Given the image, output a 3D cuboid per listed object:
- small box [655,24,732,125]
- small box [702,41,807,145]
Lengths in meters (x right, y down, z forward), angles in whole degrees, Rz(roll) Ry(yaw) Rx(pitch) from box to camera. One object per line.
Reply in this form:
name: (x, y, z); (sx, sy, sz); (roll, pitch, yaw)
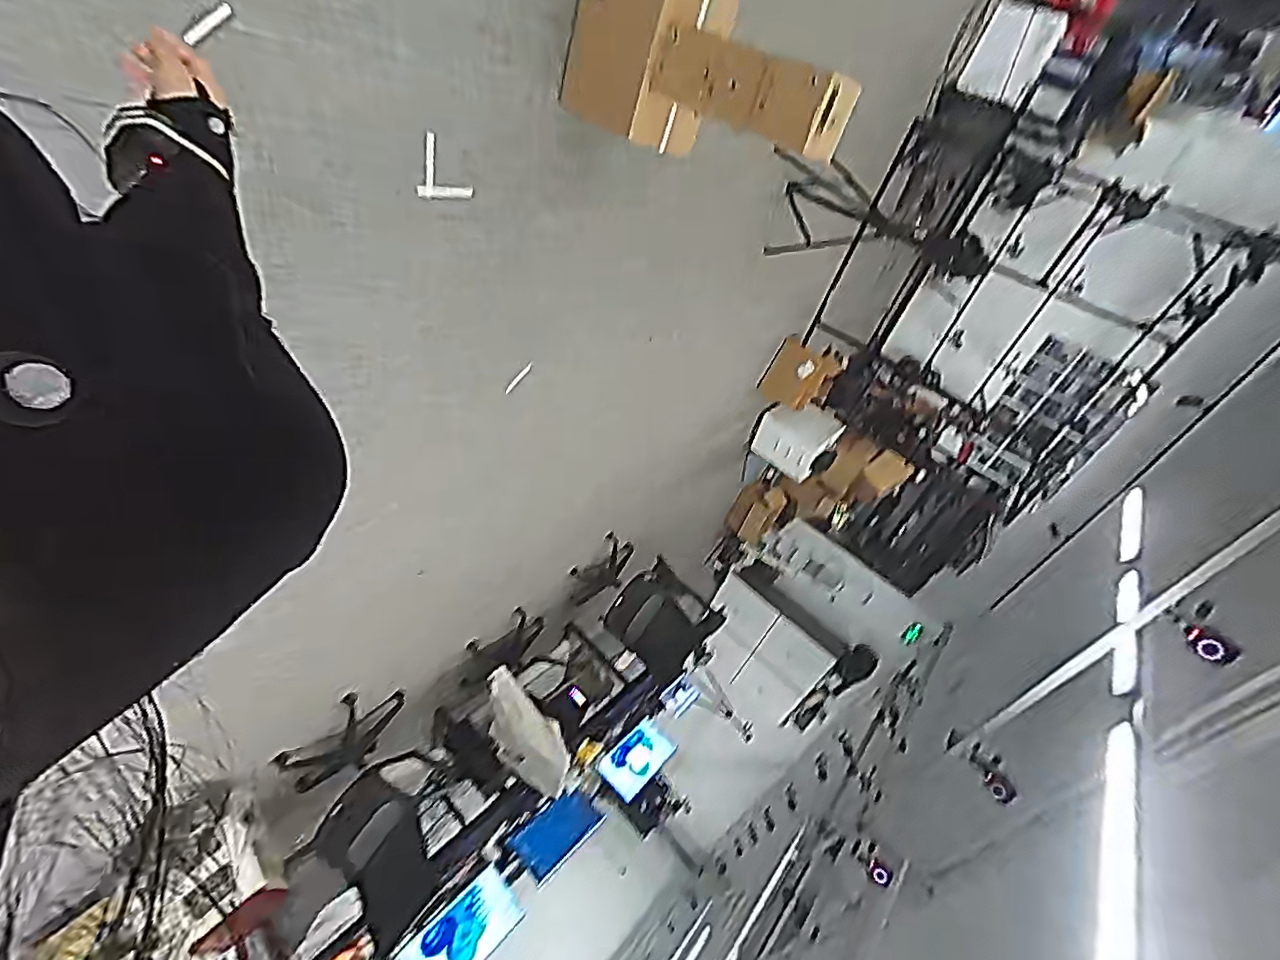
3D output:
small box: (0.167, -1.086, 1.450); (0.179, 0.176, 0.168); (-21, 143, -49)
small box: (0.289, -0.994, 1.391); (0.179, 0.176, 0.168); (-22, 144, -46)
